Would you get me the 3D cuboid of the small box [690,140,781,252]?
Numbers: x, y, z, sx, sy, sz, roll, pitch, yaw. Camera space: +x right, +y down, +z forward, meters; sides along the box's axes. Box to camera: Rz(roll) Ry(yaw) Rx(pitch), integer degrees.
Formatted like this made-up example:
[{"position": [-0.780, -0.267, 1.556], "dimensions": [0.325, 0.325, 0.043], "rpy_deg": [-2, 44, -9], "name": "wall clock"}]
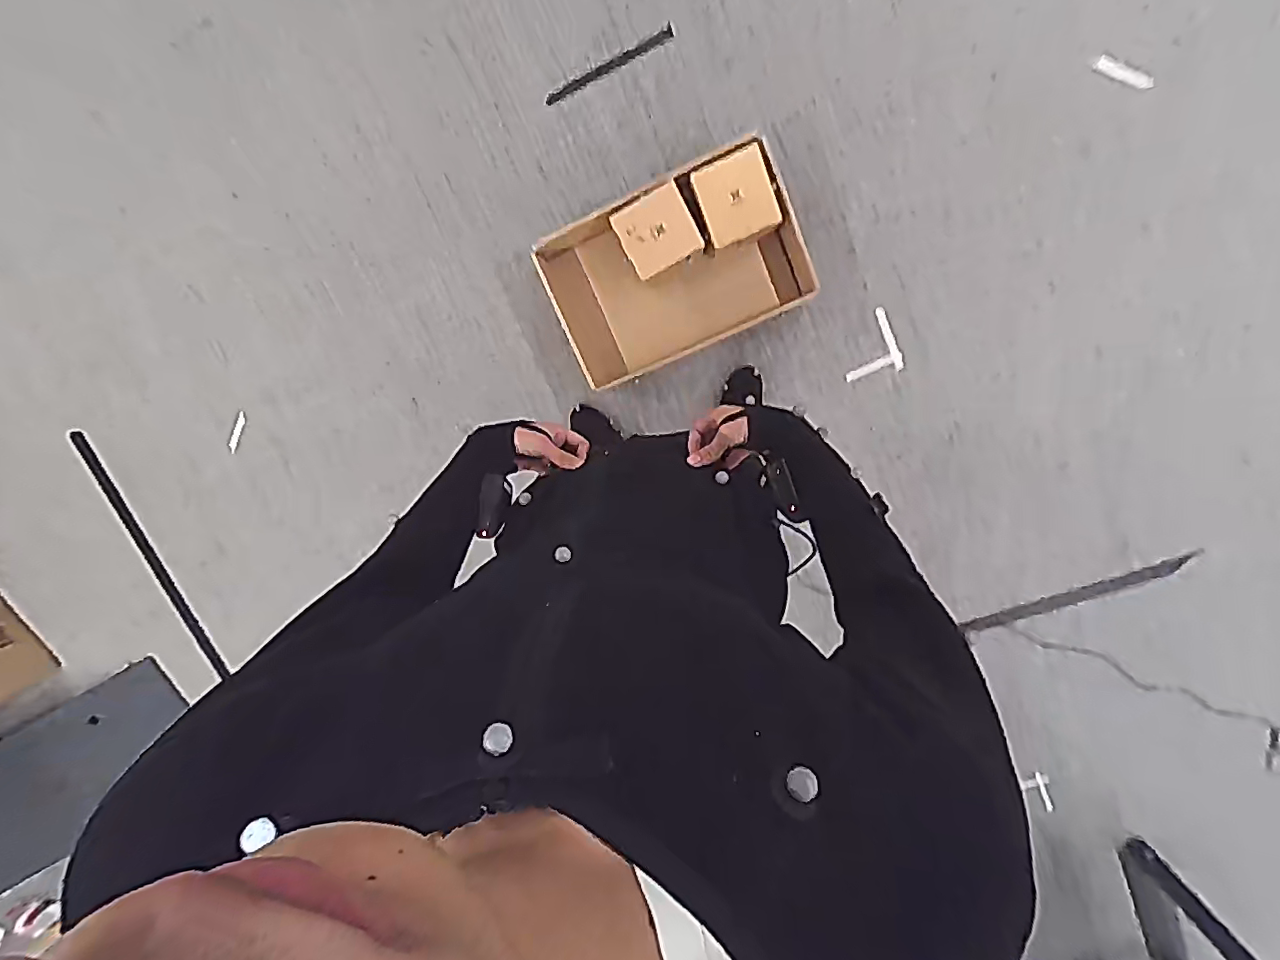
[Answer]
[{"position": [0.226, -0.682, 1.321], "dimensions": [0.168, 0.176, 0.179], "rpy_deg": [-22, 103, 10], "name": "small box"}]
